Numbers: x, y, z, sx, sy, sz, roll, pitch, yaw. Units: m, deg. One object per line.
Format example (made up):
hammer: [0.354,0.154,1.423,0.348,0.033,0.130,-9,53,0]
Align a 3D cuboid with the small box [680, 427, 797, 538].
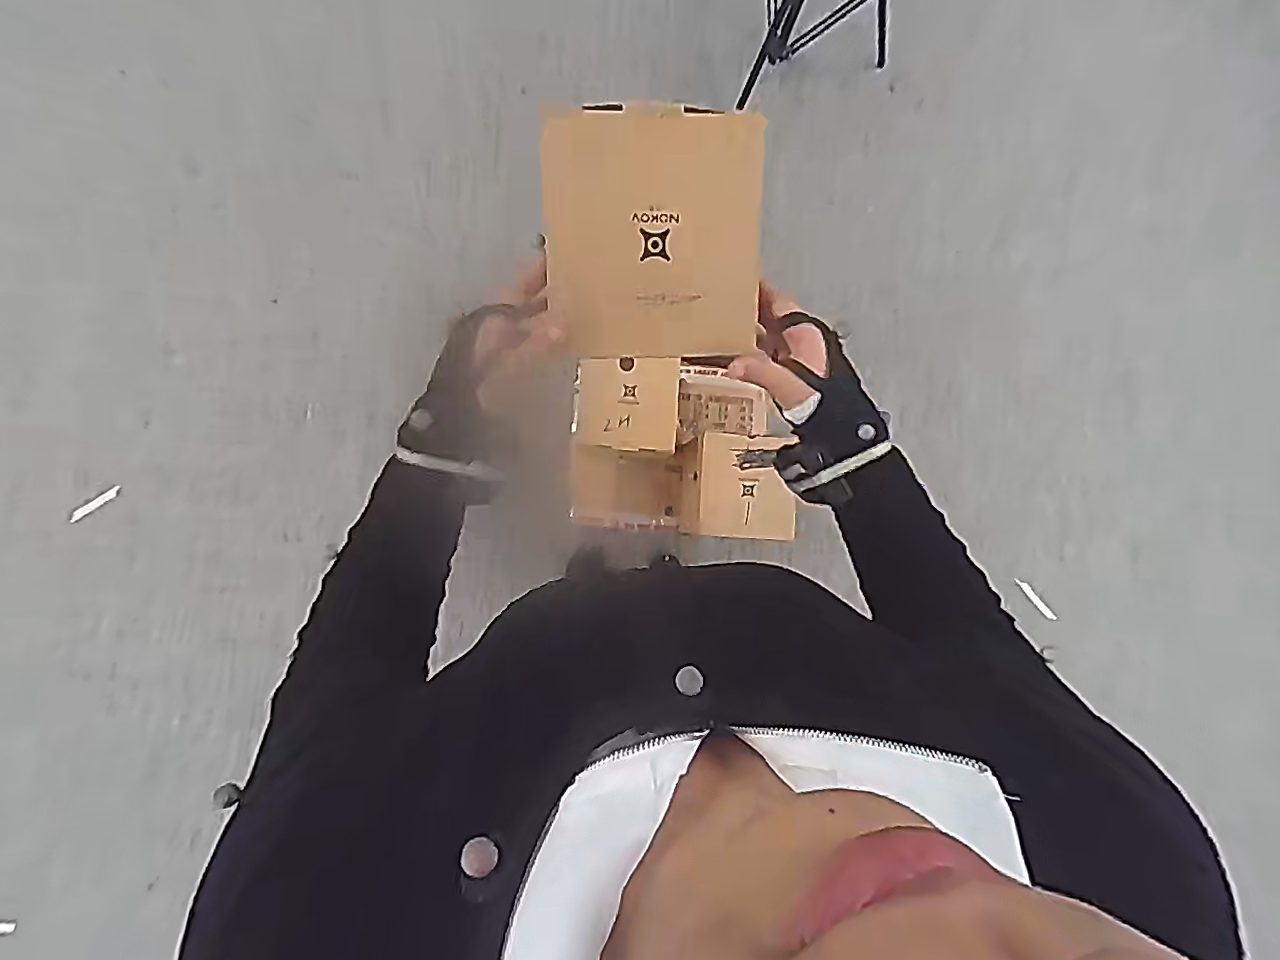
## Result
small box: [0.170,0.009,0.978,0.168,0.176,0.179,4,87,-6]

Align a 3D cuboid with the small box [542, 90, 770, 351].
small box: [0.004,-0.205,0.474,0.168,0.176,0.179,-2,106,-5]

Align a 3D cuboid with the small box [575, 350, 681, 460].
small box: [-0.025,-0.137,0.970,0.168,0.176,0.179,4,86,-3]
